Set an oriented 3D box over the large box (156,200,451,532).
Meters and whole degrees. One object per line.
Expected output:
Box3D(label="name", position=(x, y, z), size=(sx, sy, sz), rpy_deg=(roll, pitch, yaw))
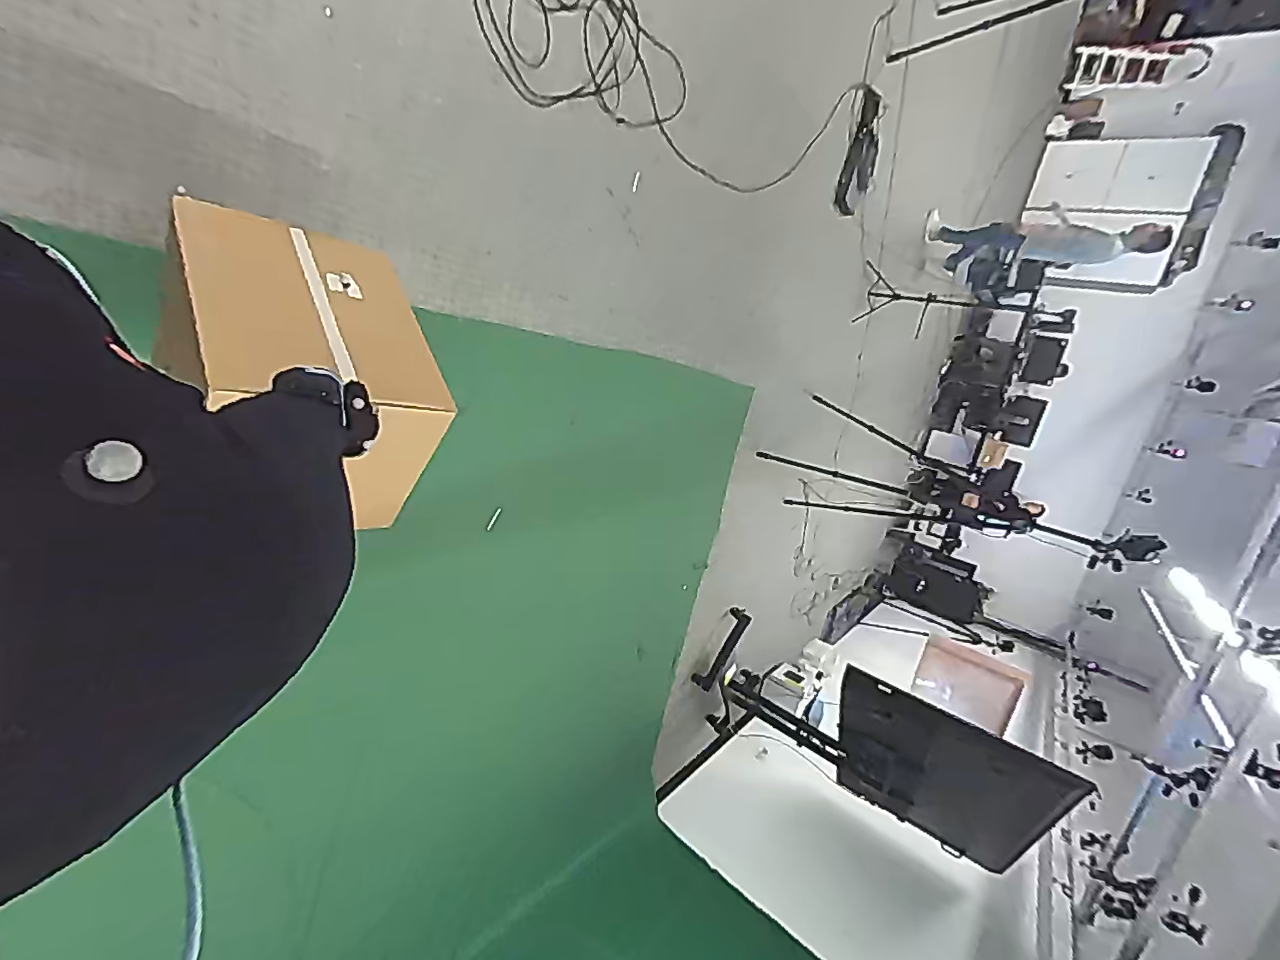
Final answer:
Box3D(label="large box", position=(-0.578, -0.170, 0.908), size=(0.320, 0.408, 0.320), rpy_deg=(0, 141, -48))
